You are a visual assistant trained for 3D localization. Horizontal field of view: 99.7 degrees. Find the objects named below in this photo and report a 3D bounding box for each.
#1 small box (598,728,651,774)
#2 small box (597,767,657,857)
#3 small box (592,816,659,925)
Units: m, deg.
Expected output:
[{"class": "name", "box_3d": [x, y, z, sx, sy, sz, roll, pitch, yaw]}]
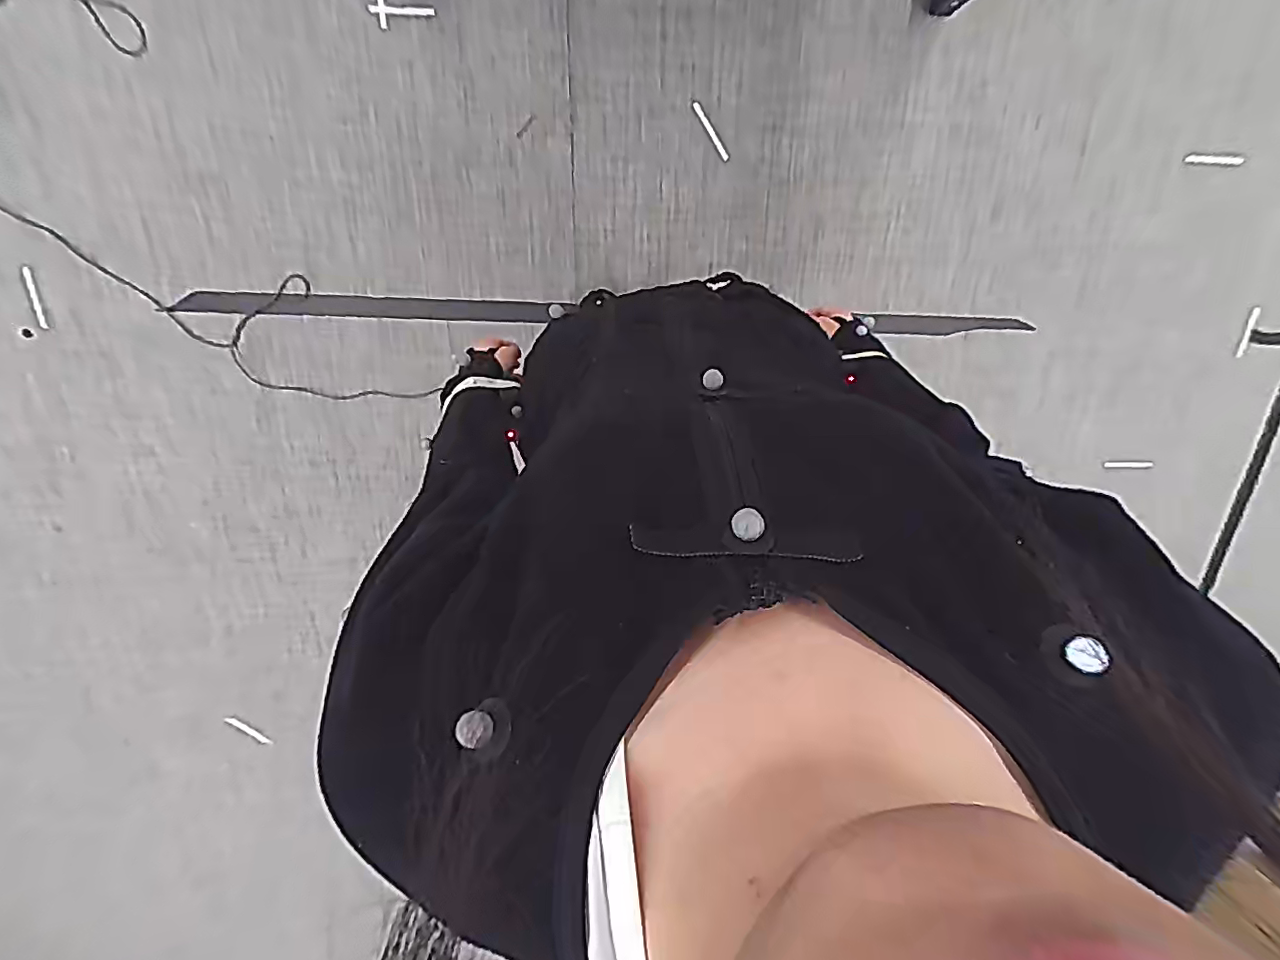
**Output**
[{"class": "small box", "box_3d": [-0.051, 0.939, 1.774, 0.168, 0.176, 0.179, -4, 110, -3]}, {"class": "small box", "box_3d": [-0.040, 0.998, 1.621, 0.168, 0.176, 0.179, -5, 111, -2]}, {"class": "small box", "box_3d": [-0.039, 1.053, 1.465, 0.168, 0.176, 0.179, -5, 109, -2]}]
